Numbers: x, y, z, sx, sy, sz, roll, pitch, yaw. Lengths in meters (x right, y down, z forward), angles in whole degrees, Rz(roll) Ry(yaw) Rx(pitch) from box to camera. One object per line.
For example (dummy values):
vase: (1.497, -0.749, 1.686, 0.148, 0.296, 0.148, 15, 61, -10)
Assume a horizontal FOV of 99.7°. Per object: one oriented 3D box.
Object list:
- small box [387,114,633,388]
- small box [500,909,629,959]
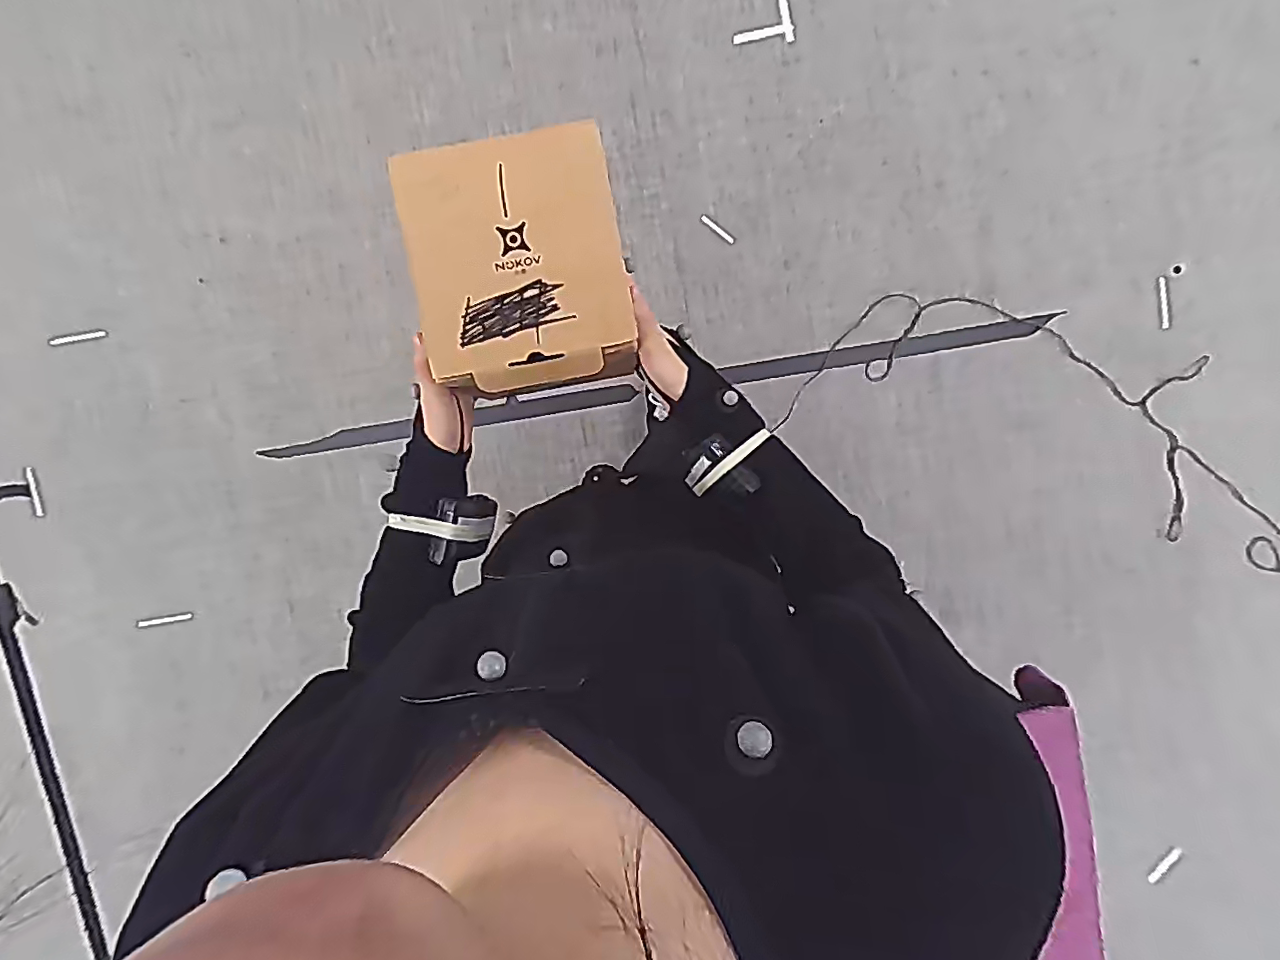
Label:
small box: (-0.099, -0.185, 0.496, 0.168, 0.176, 0.179, -11, 93, -1)
small box: (-0.103, 0.738, 0.734, 0.179, 0.176, 0.168, -11, 95, 0)
